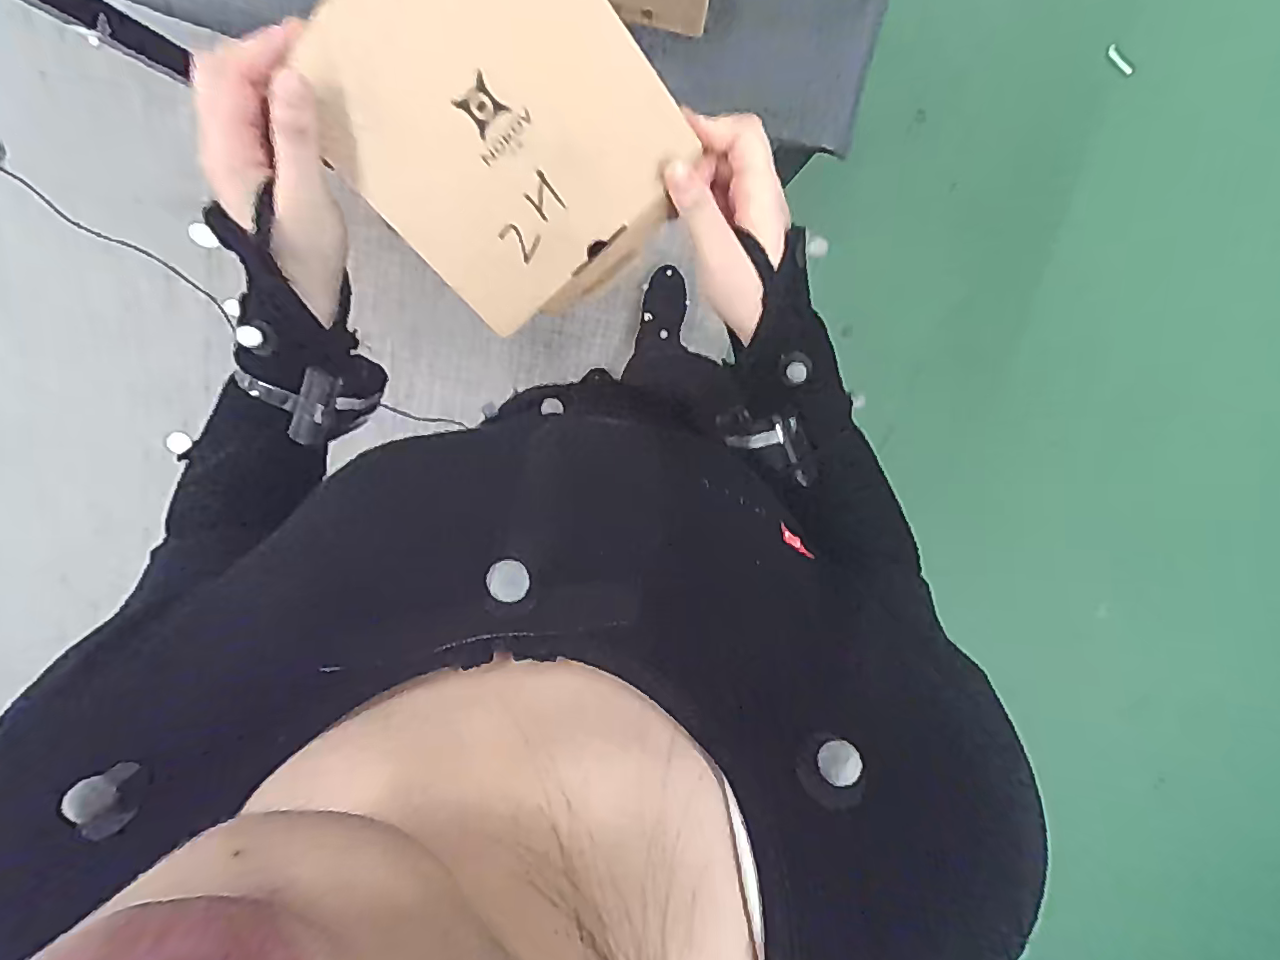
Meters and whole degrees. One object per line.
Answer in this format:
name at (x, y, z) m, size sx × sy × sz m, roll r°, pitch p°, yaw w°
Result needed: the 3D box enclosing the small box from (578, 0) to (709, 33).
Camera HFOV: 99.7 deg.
small box at (0.004, -0.563, 0.492) m, size 0.168 × 0.176 × 0.179 m, roll 13°, pitch 102°, yaw -1°
